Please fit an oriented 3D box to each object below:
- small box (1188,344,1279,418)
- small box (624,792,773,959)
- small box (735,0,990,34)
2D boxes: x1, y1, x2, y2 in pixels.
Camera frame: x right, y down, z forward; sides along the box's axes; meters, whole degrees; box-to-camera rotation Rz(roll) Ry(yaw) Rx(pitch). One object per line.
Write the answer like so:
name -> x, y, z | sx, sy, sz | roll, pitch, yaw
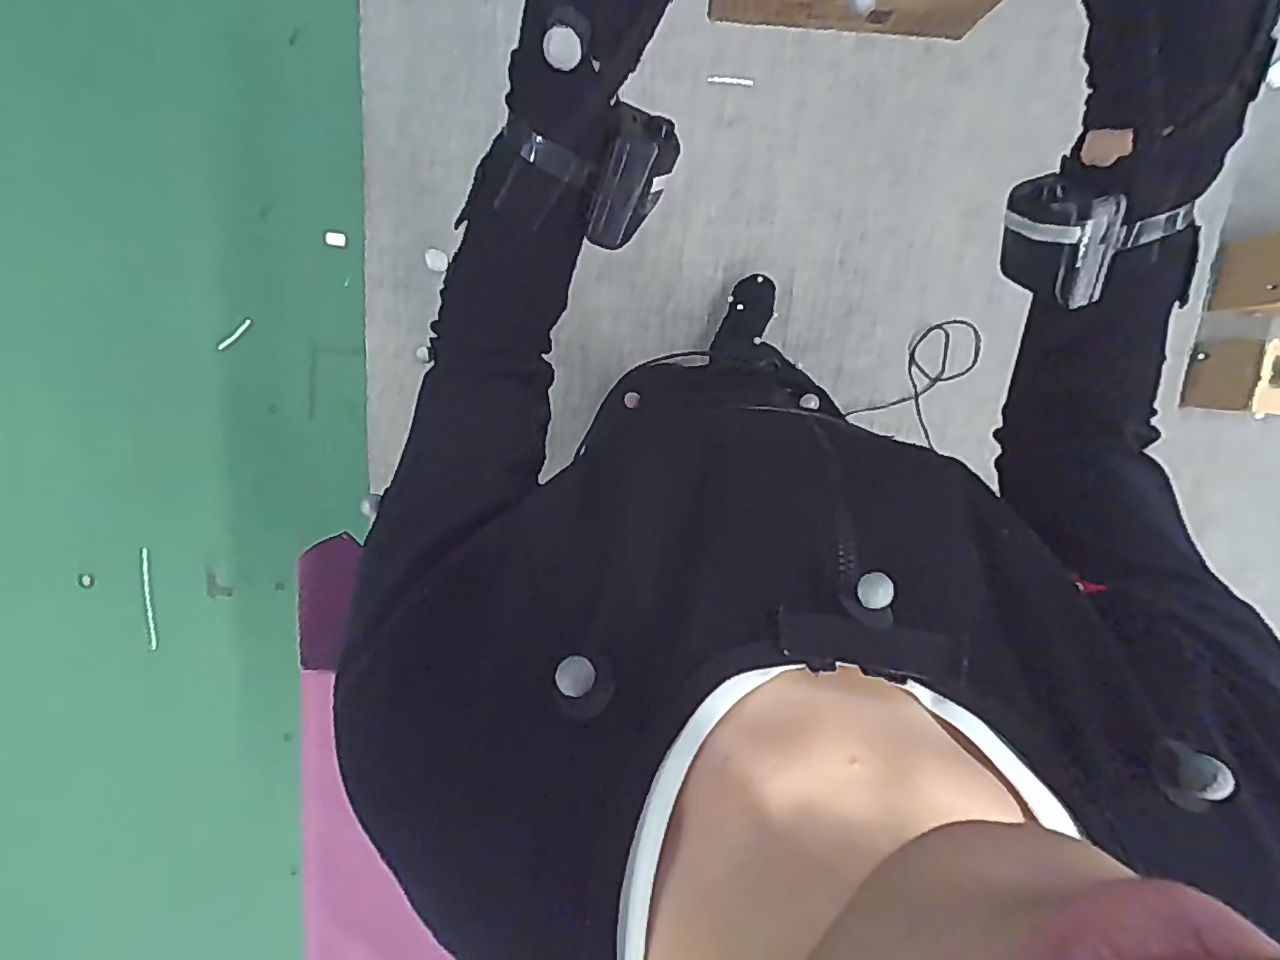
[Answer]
small box -> 1.513, -0.238, 1.319 | 0.179, 0.176, 0.168 | 4, 101, -1
small box -> 0.073, 0.588, 0.767 | 0.168, 0.176, 0.179 | 10, 101, -2
small box -> 0.134, -0.356, 0.247 | 0.168, 0.176, 0.179 | 5, 106, 0
